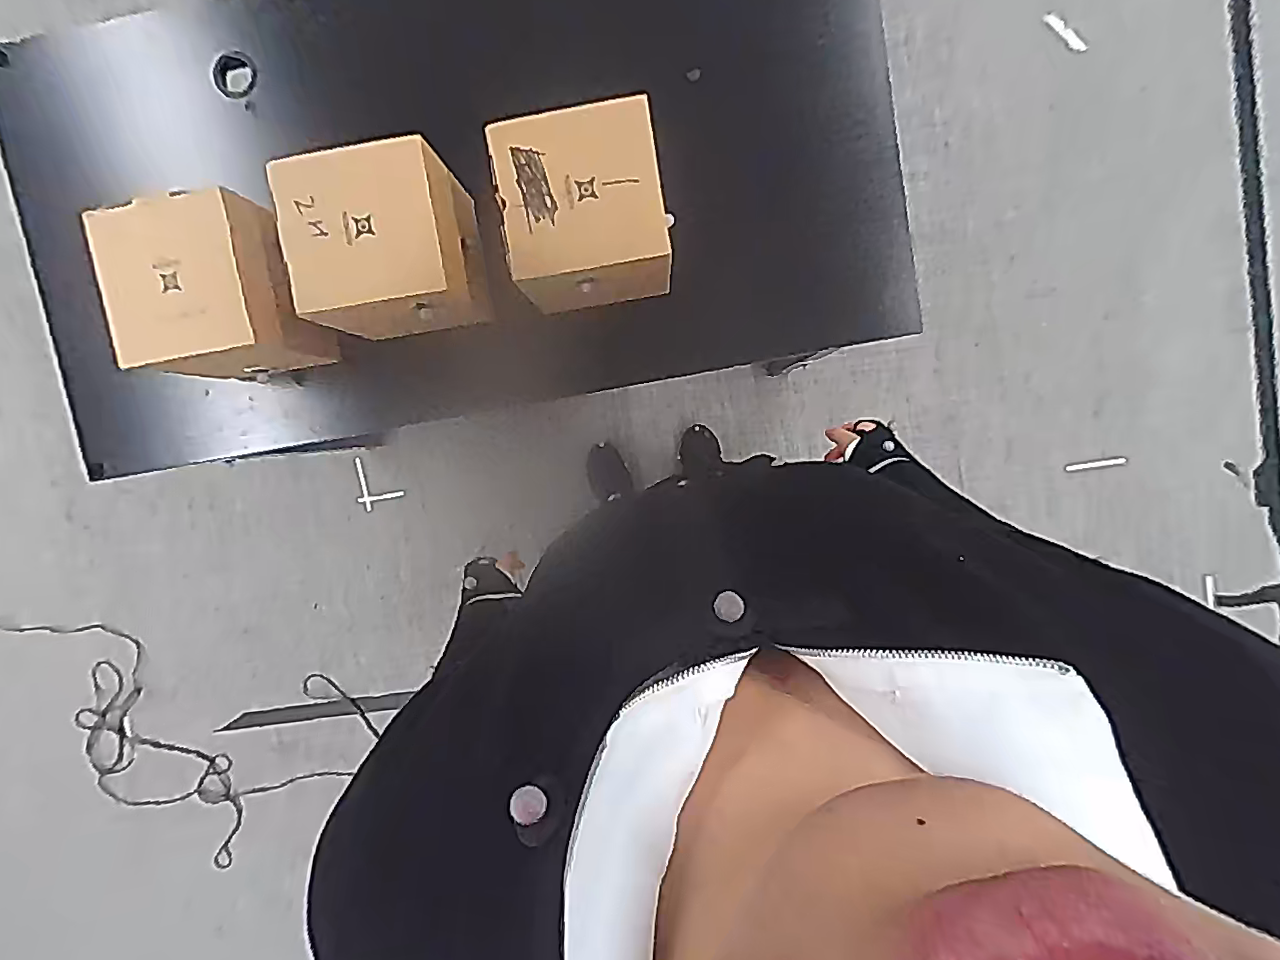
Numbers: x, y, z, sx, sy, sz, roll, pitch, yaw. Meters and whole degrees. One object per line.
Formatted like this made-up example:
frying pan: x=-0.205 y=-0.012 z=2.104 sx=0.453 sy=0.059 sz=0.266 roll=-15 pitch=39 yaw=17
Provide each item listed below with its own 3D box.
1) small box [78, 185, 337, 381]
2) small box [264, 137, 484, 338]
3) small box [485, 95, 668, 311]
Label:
small box: x=-0.516 y=-0.228 z=0.672 sx=0.168 sy=0.176 sz=0.179 roll=-10 pitch=96 yaw=4
small box: x=-0.302 y=-0.278 z=0.658 sx=0.179 sy=0.176 sz=0.168 roll=-8 pitch=95 yaw=3
small box: x=-0.063 y=-0.311 z=0.646 sx=0.179 sy=0.176 sz=0.168 roll=-9 pitch=95 yaw=2
